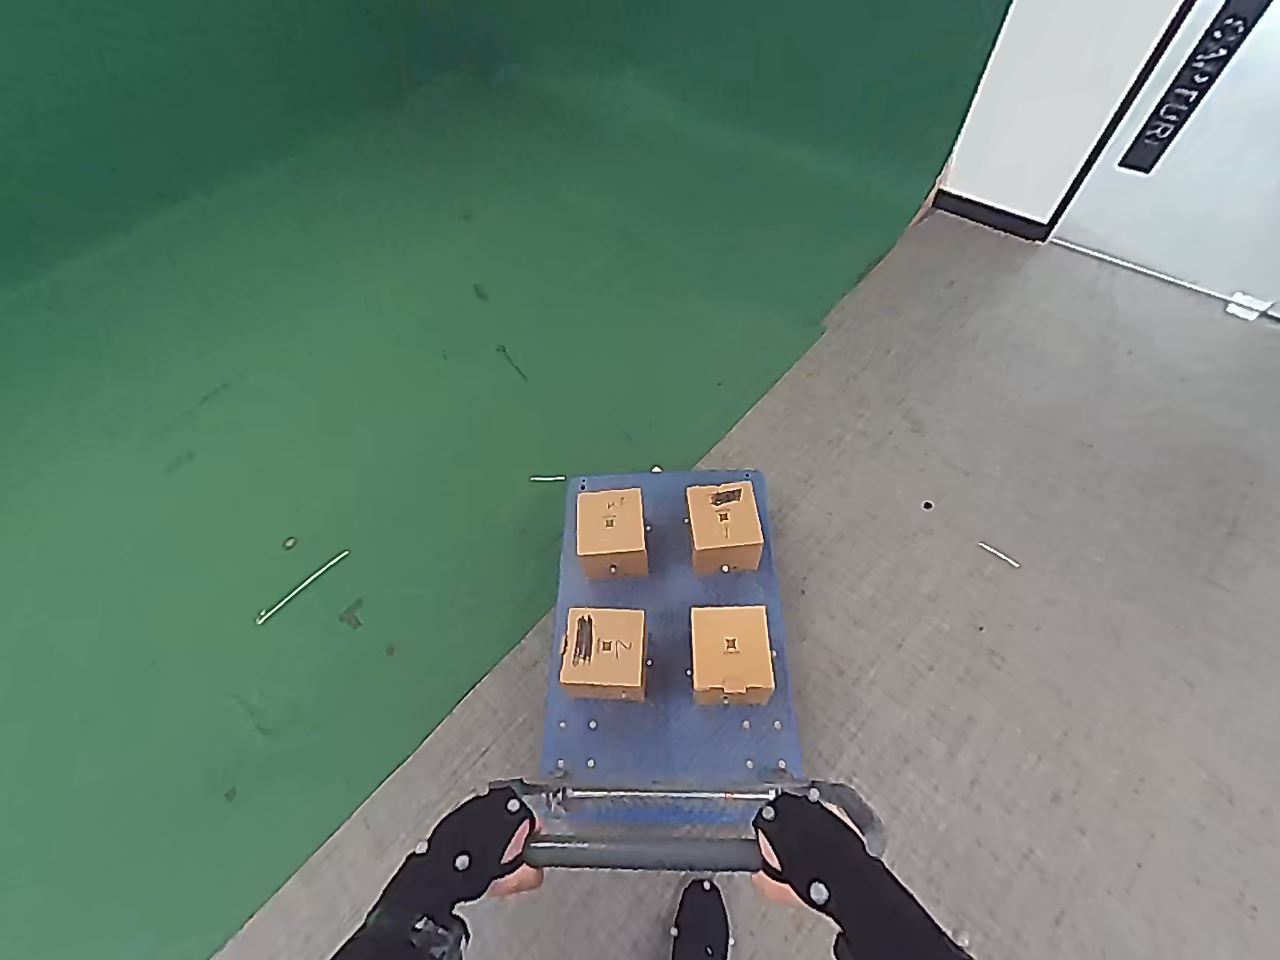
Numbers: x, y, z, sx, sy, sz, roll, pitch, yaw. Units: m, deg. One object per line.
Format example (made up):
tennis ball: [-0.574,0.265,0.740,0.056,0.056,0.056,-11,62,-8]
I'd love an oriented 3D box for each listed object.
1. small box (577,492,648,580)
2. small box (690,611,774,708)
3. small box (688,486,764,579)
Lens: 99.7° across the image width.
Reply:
small box: [-0.068,0.152,1.397,0.168,0.176,0.179,-4,58,1]
small box: [0.200,0.408,1.220,0.168,0.176,0.179,-2,59,4]
small box: [0.211,0.137,1.383,0.168,0.176,0.179,-6,59,2]
